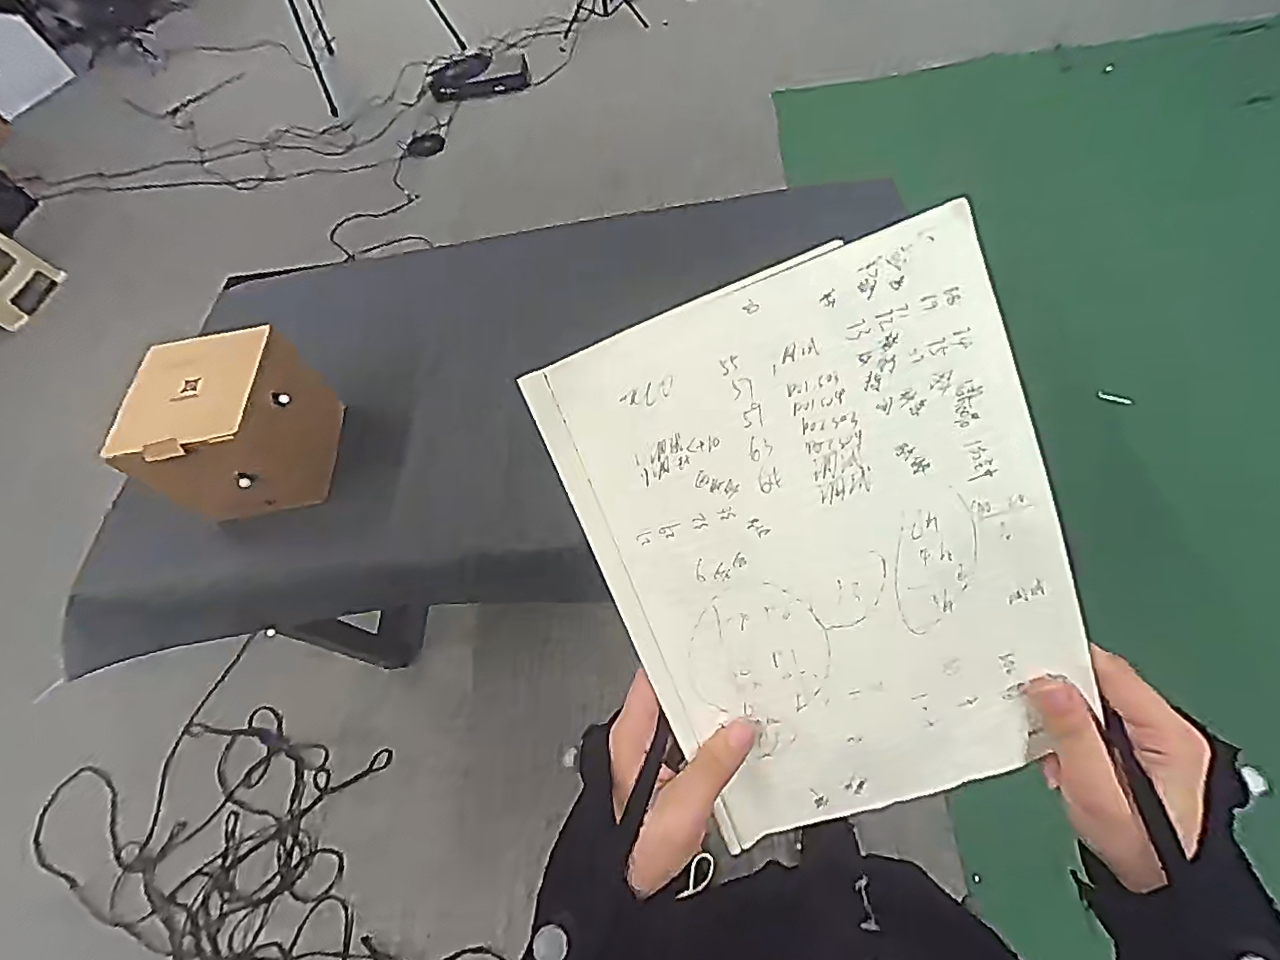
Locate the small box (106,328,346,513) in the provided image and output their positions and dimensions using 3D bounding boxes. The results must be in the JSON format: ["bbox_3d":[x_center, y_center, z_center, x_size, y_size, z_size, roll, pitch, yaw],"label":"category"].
[{"bbox_3d":[-0.524,-0.068,0.718,0.168,0.176,0.179,-9,58,3],"label":"small box"}]
